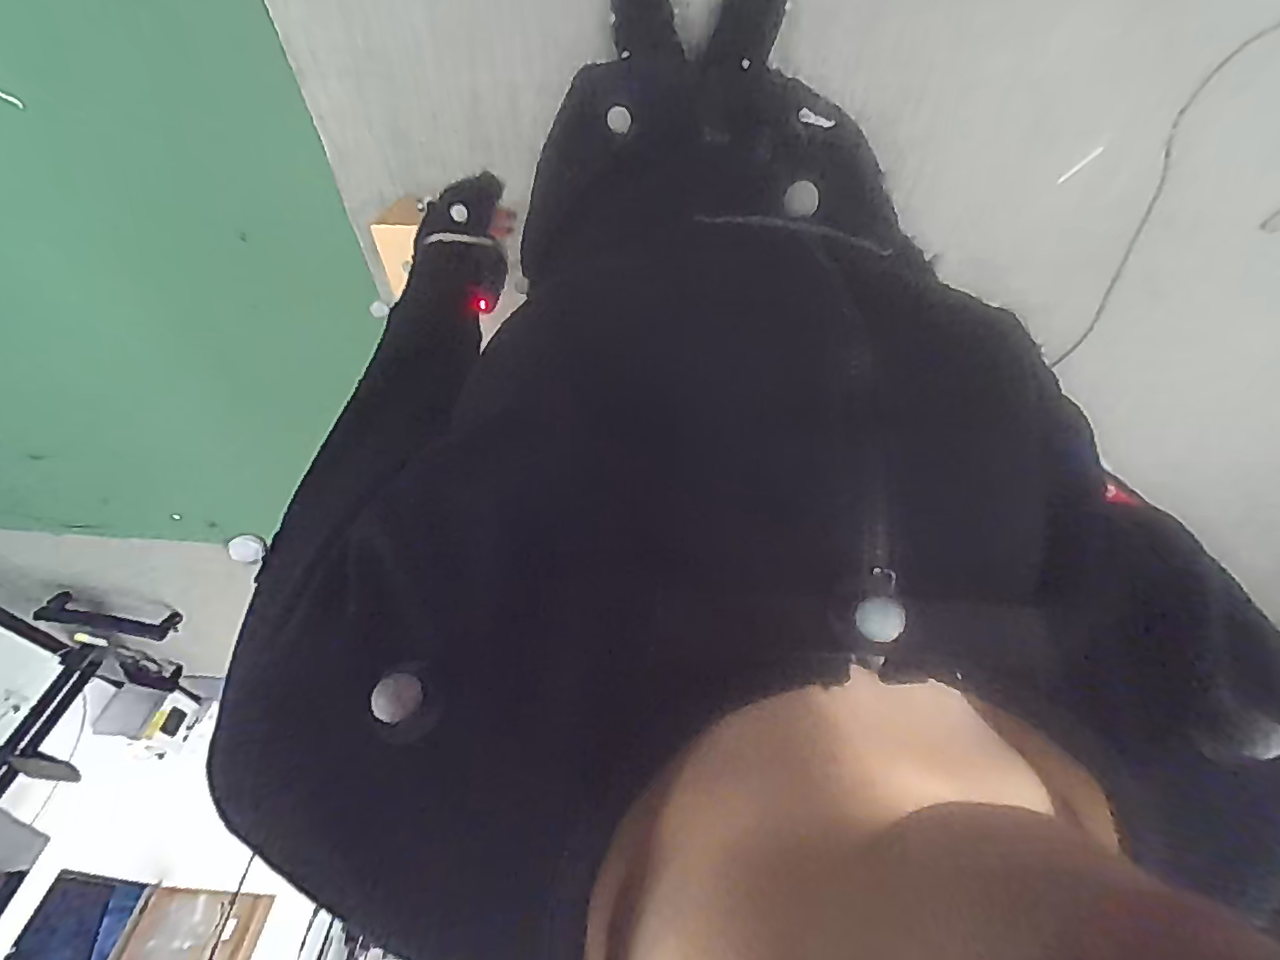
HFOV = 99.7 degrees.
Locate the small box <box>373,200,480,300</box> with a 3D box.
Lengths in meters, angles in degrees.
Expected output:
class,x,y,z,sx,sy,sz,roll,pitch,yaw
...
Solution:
class,x,y,z,sx,sy,sz,roll,pitch,yaw
small box,-0.501,-0.555,1.297,0.168,0.176,0.179,4,136,3
